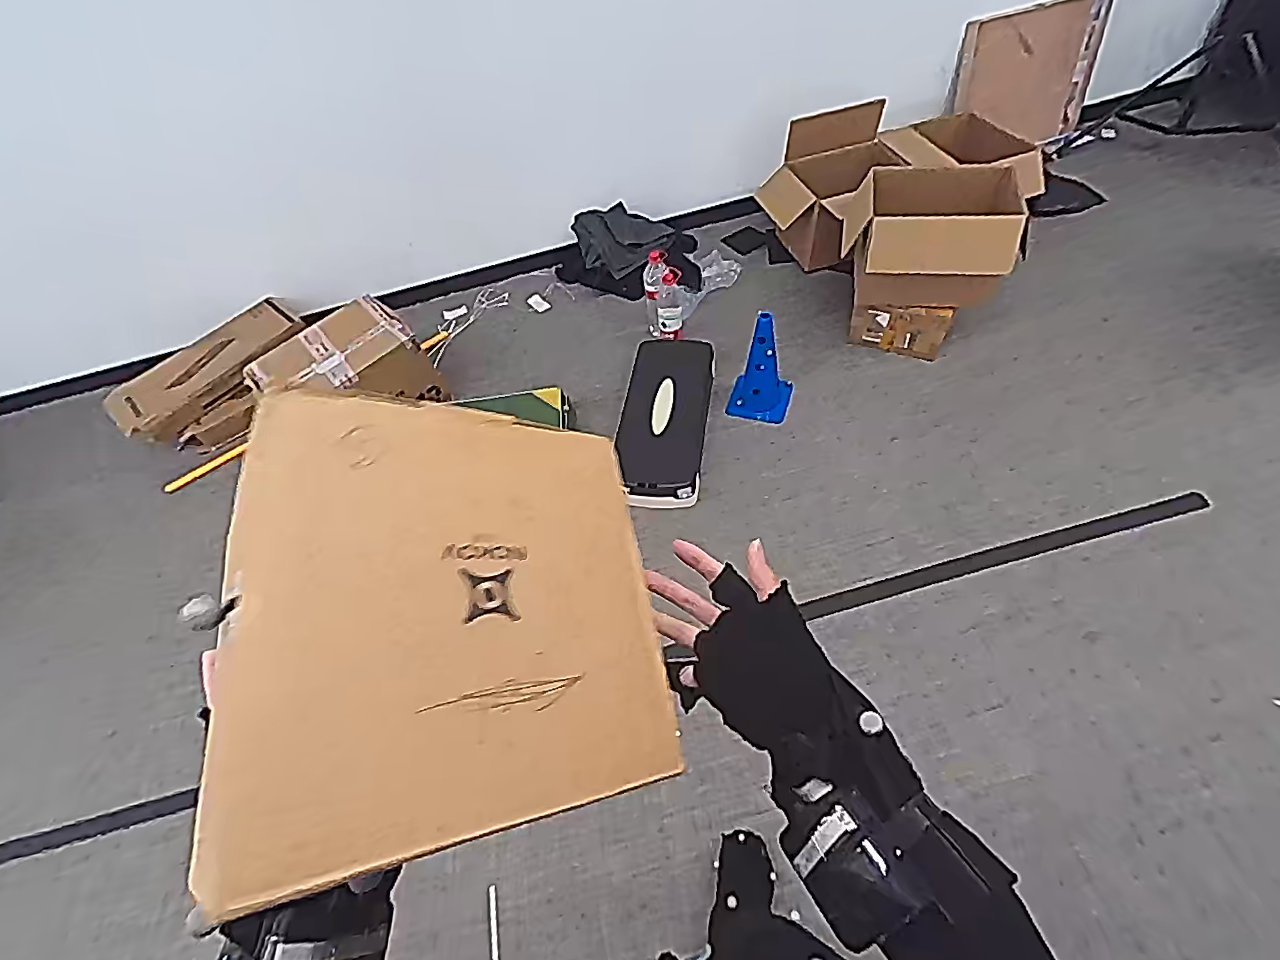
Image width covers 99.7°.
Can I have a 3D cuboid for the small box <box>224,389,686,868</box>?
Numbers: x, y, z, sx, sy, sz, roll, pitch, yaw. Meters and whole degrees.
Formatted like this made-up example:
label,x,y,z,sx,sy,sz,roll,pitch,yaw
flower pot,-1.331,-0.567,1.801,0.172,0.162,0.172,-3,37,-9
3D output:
label,x,y,z,sx,sy,sz,roll,pitch,yaw
small box,-0.106,0.084,0.291,0.168,0.176,0.179,9,57,-38
